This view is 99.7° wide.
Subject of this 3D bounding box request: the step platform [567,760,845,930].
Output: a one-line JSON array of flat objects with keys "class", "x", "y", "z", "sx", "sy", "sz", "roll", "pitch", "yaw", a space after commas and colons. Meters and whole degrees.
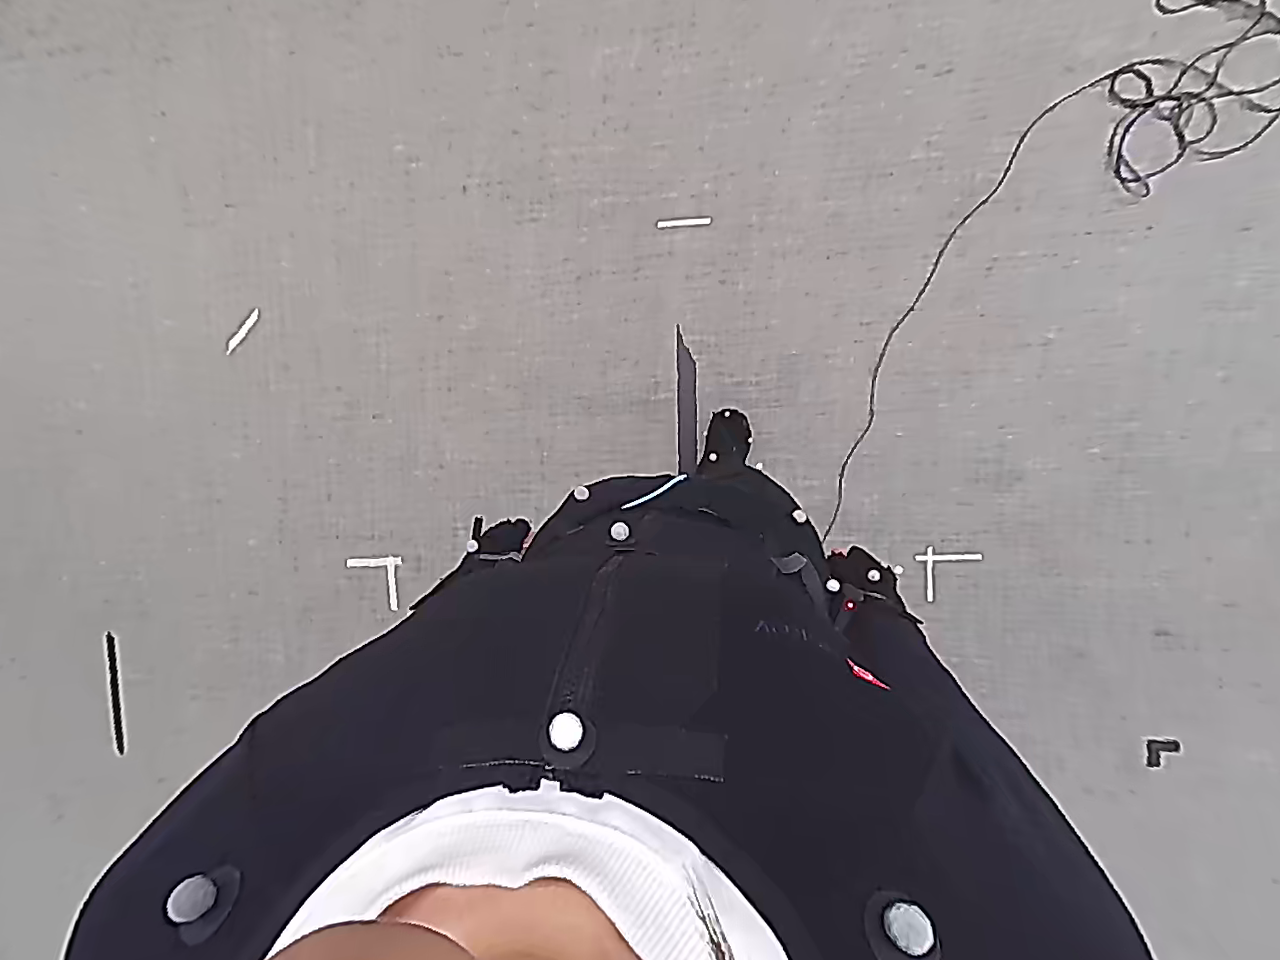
[{"class": "step platform", "x": 0.157, "y": 0.914, "z": 1.376, "sx": 0.684, "sy": 0.204, "sz": 0.286, "roll": -2, "pitch": 92, "yaw": 10}]
